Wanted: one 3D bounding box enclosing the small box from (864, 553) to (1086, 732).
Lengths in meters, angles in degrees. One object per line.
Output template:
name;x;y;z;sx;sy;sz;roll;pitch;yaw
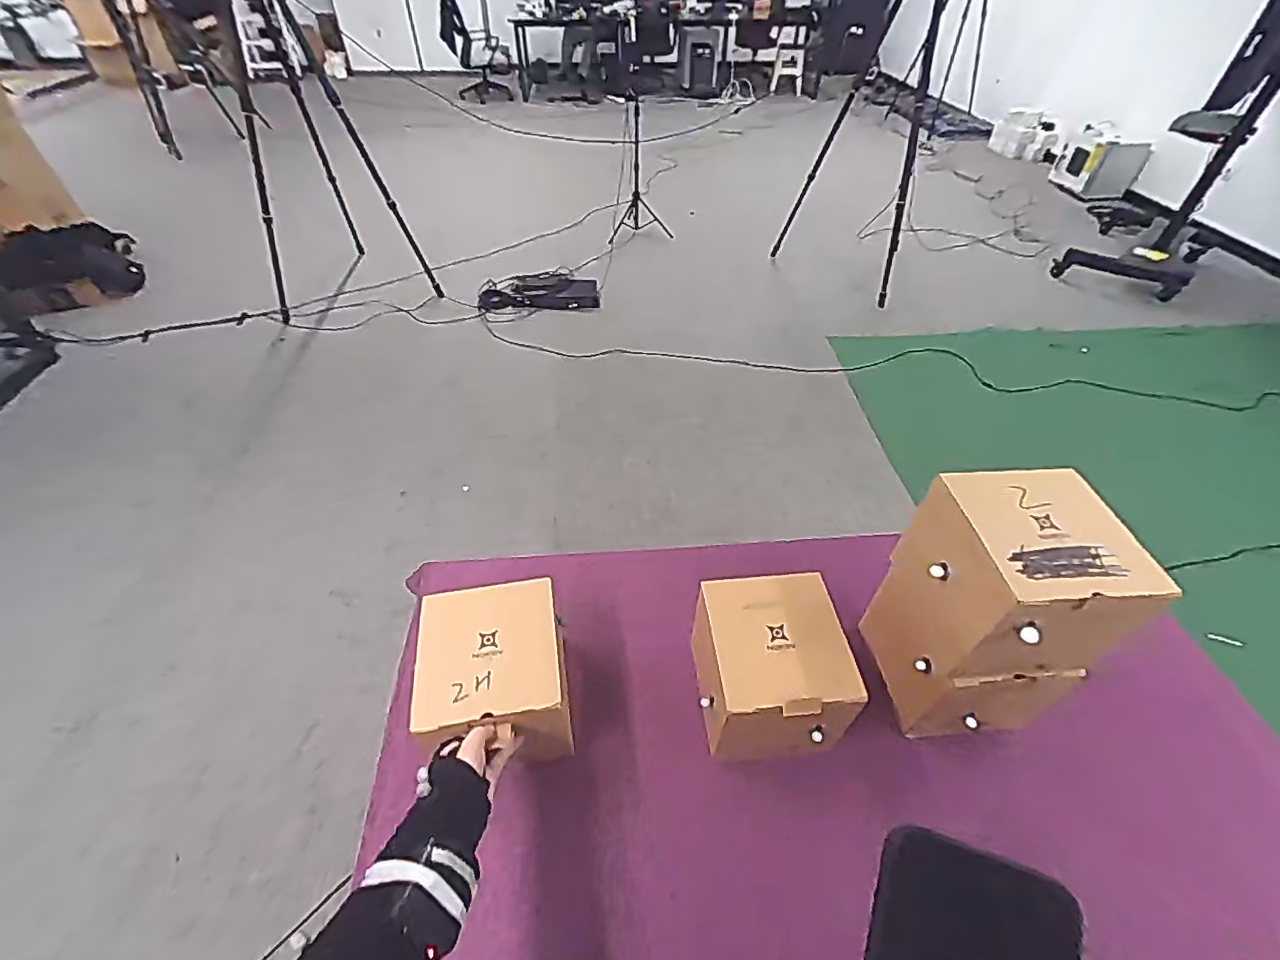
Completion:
small box;0.434;0.222;0.742;0.168;0.176;0.179;-4;47;-4

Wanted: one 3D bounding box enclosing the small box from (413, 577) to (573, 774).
small box;-0.181;0.255;0.708;0.168;0.176;0.179;-8;47;-7

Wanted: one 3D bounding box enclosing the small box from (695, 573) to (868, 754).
small box;0.171;0.247;0.718;0.168;0.176;0.179;-4;46;-4
